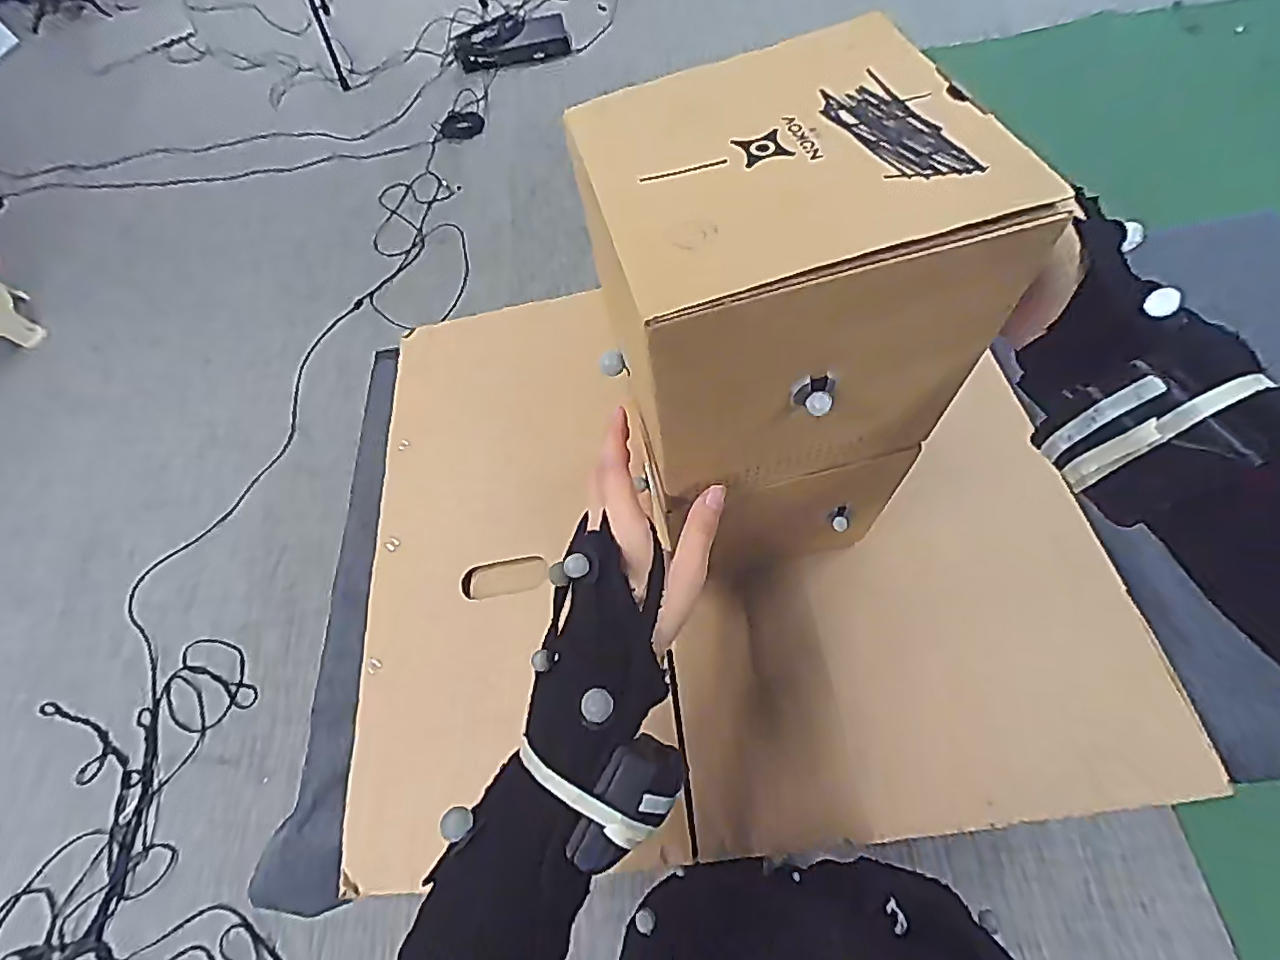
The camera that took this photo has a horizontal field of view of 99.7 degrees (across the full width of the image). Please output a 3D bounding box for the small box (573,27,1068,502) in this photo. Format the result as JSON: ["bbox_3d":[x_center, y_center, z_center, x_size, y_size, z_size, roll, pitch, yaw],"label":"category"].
[{"bbox_3d":[0.075,-0.109,0.315,0.179,0.176,0.168,-16,60,-1],"label":"small box"}]

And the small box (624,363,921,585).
[{"bbox_3d":[0.093,-0.029,0.458,0.179,0.176,0.168,-15,60,0],"label":"small box"}]
